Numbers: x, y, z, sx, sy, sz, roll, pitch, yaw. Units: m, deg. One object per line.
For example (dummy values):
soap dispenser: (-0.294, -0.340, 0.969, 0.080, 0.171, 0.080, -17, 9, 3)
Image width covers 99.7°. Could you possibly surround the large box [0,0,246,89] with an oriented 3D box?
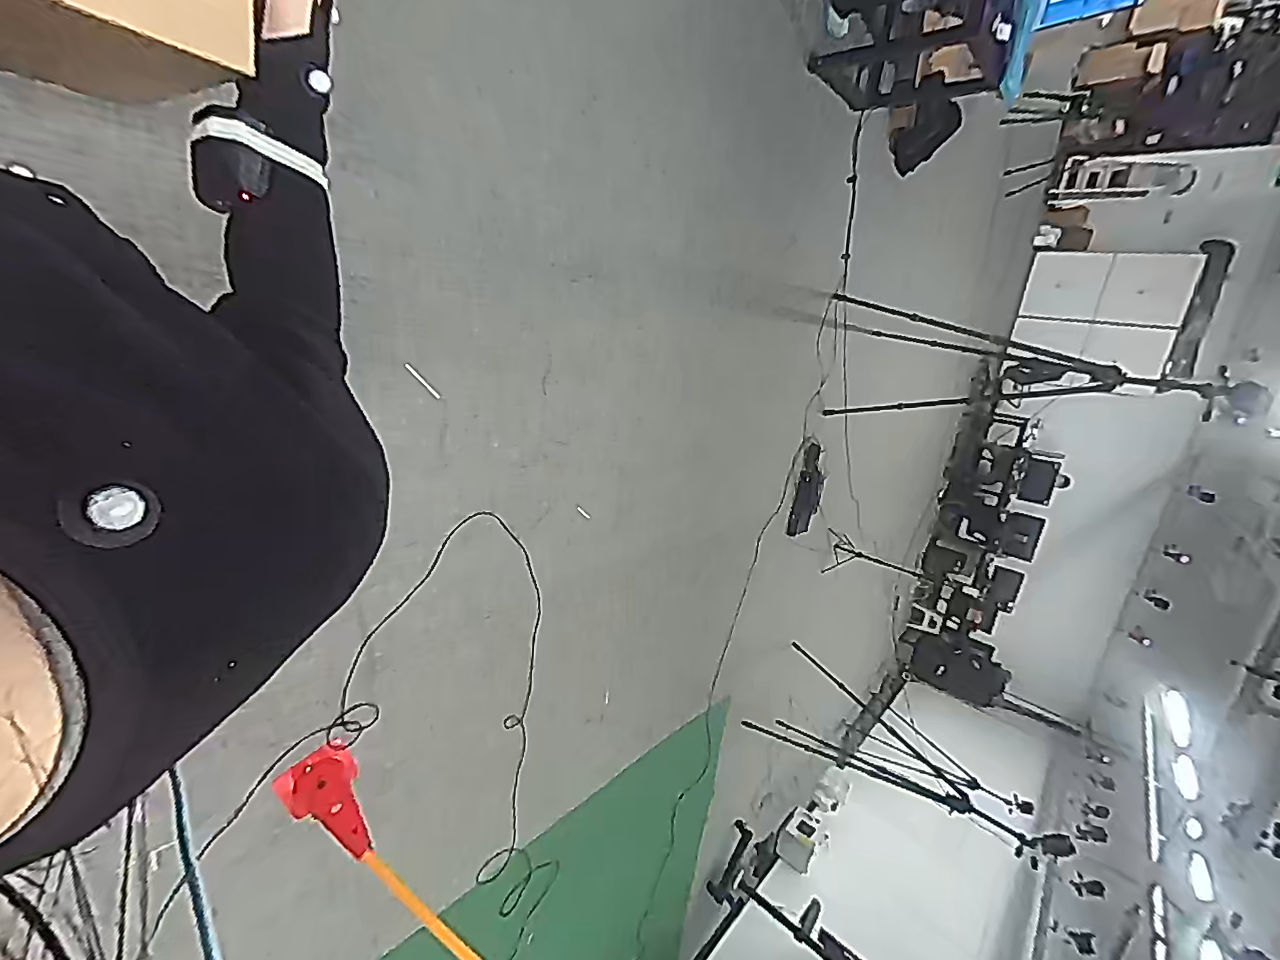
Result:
large box: (-0.511, -0.472, 0.294, 0.408, 0.320, 0.320, -13, 118, -51)
